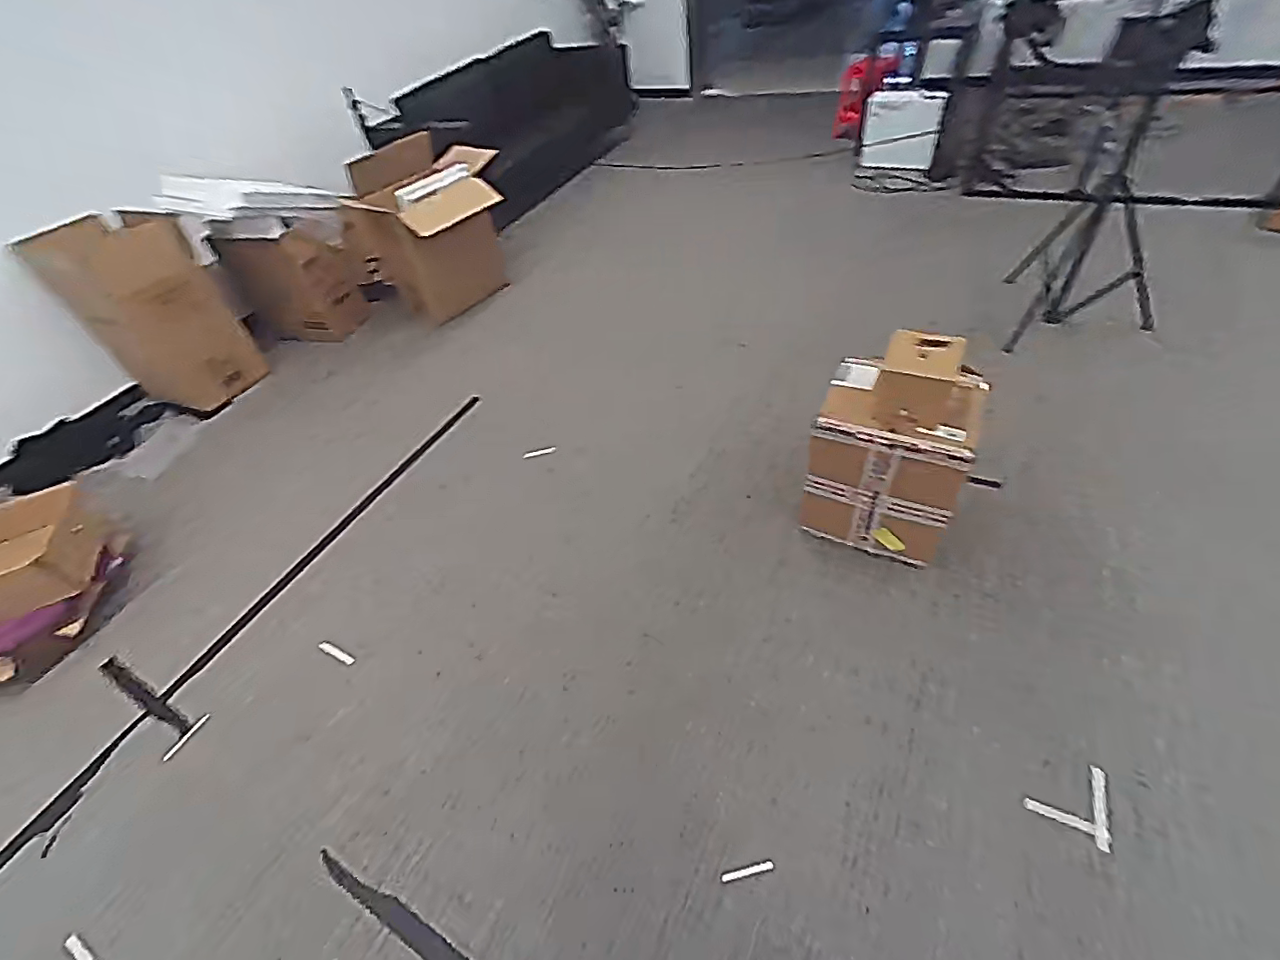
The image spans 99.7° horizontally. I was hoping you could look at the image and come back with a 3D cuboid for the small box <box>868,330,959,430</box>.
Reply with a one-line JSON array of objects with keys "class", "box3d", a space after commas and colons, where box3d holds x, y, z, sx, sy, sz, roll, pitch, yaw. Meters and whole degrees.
[{"class": "small box", "box3d": [0.706, -0.259, 1.408, 0.168, 0.176, 0.179, 16, 56, 24]}]
